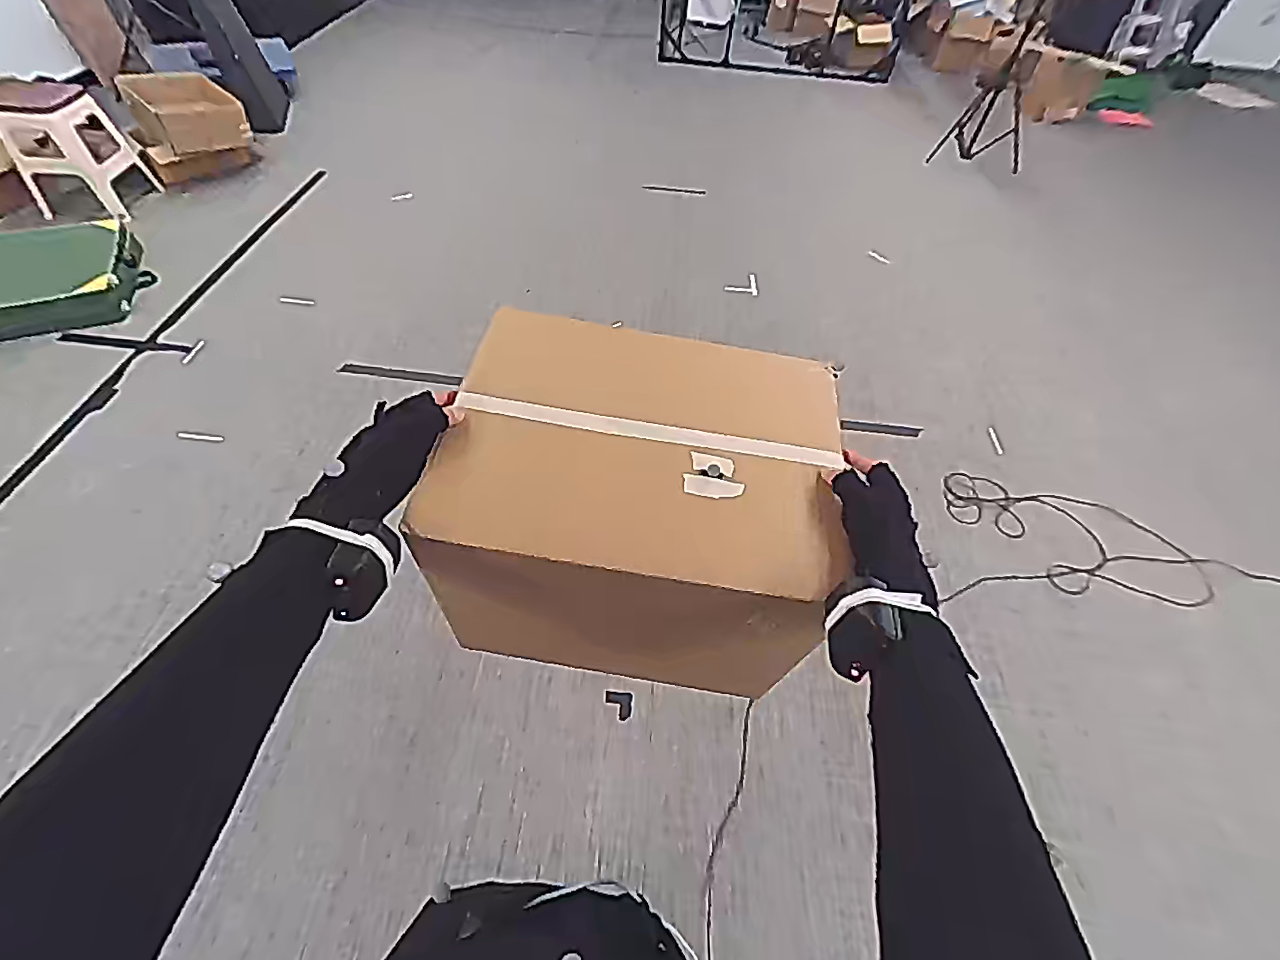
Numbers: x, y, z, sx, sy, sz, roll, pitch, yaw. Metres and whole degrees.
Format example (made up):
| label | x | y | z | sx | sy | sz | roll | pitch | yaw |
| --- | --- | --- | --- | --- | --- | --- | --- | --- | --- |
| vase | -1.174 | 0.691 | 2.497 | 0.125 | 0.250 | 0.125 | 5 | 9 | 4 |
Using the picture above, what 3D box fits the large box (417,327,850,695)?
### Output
| label | x | y | z | sx | sy | sz | roll | pitch | yaw |
| --- | --- | --- | --- | --- | --- | --- | --- | --- | --- |
| large box | -0.005 | 0.051 | 0.689 | 0.408 | 0.320 | 0.320 | 10 | 55 | 0 |
